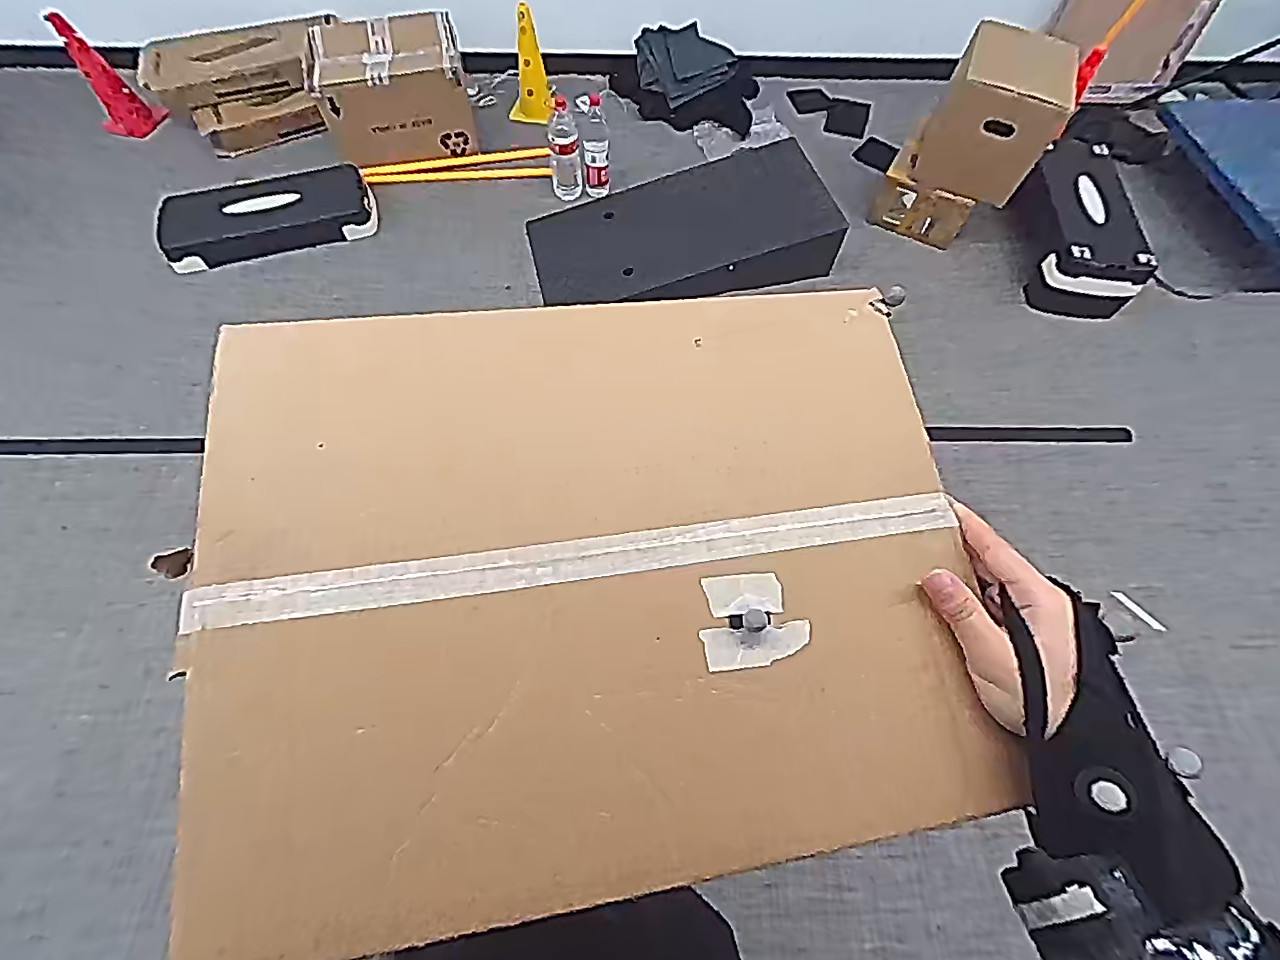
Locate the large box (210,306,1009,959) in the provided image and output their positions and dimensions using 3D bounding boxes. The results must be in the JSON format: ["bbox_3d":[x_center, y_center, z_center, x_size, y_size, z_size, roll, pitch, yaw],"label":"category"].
[{"bbox_3d":[-0.034,0.090,0.444,0.408,0.320,0.320,-6,74,-10],"label":"large box"}]
